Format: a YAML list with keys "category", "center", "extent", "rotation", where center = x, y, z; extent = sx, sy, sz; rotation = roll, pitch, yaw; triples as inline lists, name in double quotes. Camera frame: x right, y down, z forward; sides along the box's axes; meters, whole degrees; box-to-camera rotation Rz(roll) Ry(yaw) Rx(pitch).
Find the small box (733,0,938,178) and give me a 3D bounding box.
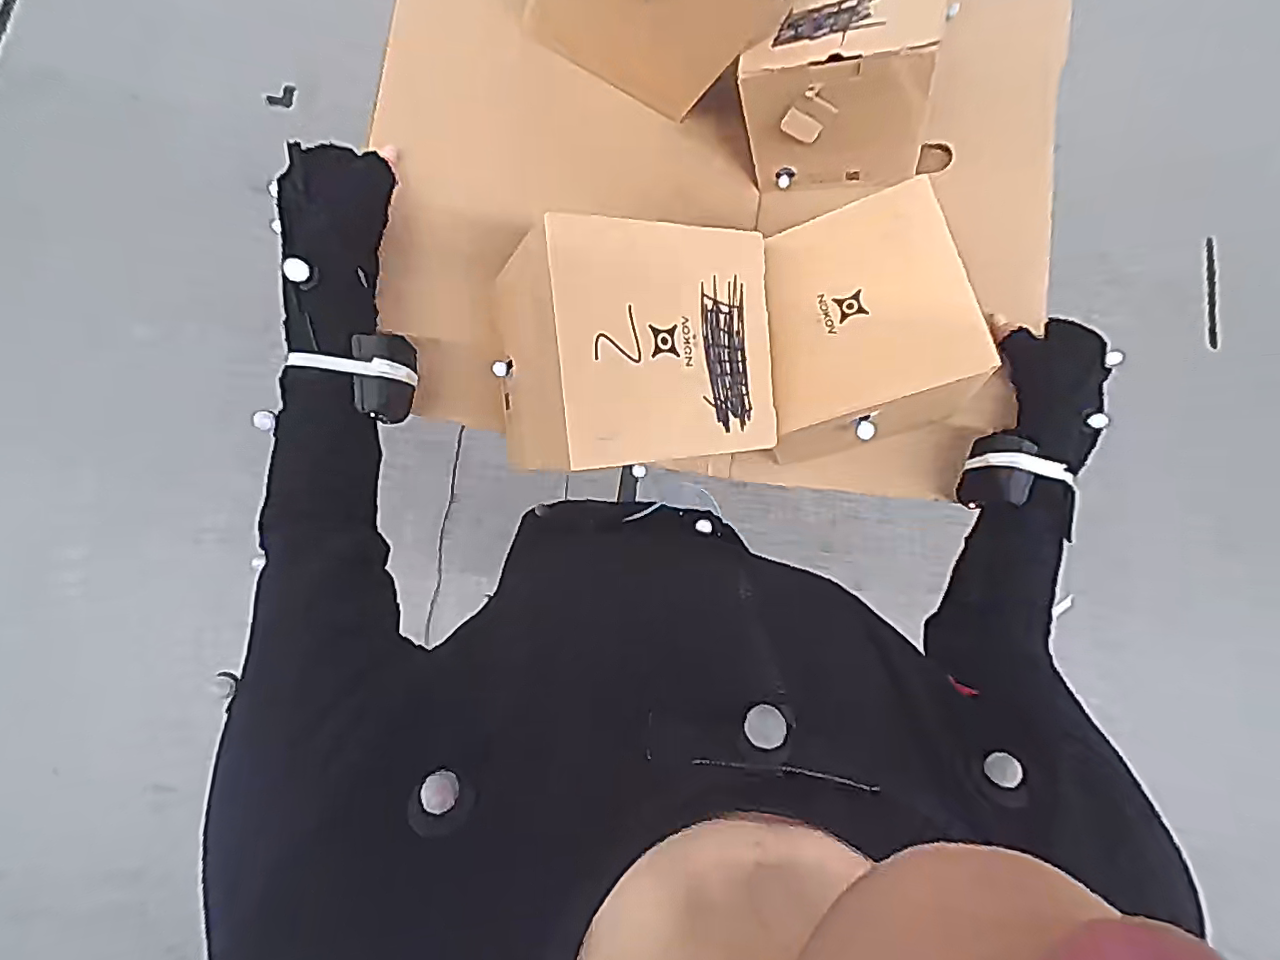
- category: "small box"
  center: [0.200, -0.431, 0.543]
  extent: [0.168, 0.176, 0.179]
  rotation: [8, 83, 20]
